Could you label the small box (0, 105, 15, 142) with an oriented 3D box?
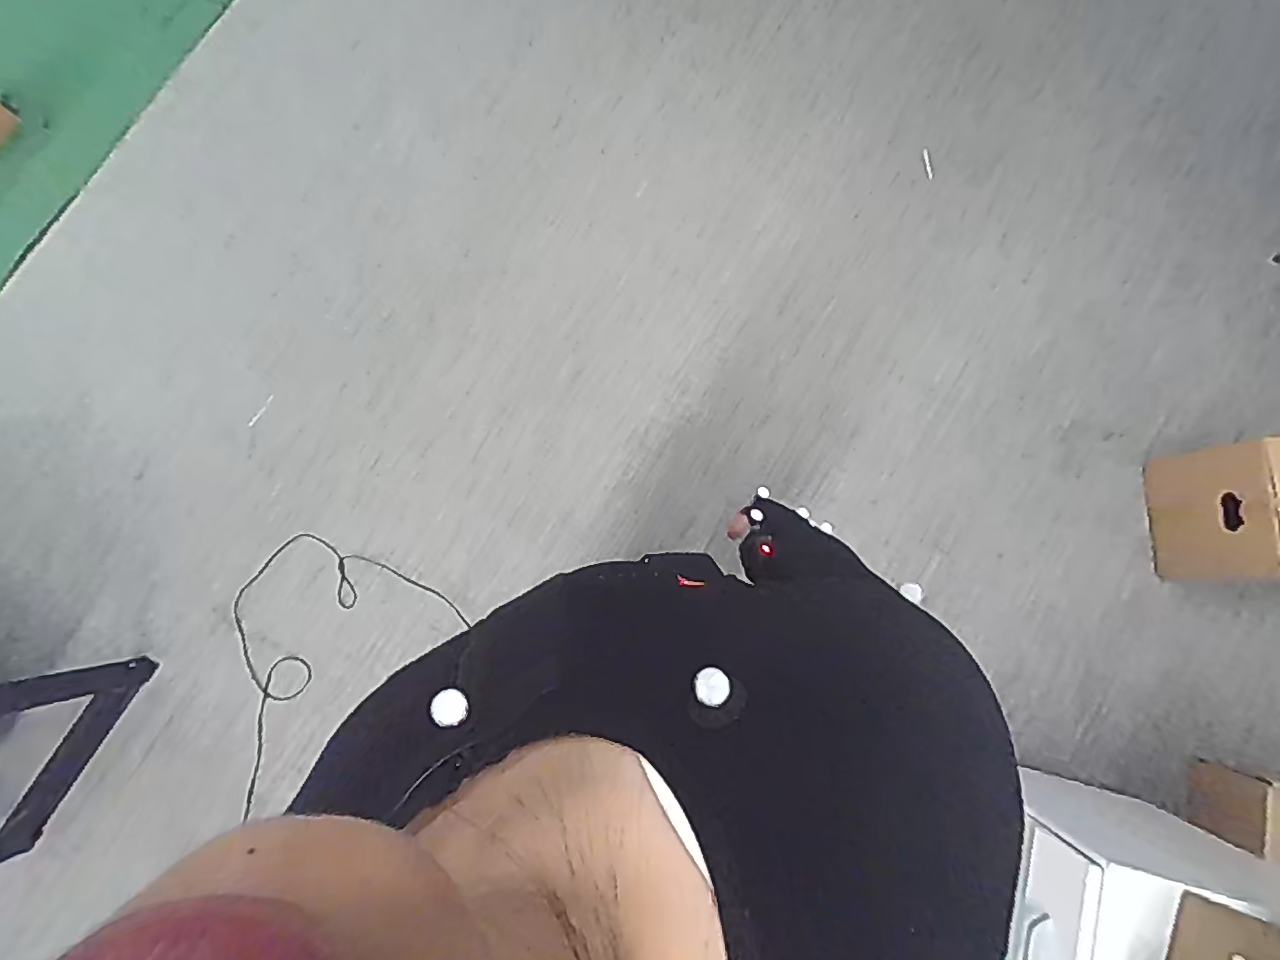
[{"bbox_3d":[-2.197,-1.197,1.738,0.168,0.176,0.179,36,85,7],"label":"small box"}]
